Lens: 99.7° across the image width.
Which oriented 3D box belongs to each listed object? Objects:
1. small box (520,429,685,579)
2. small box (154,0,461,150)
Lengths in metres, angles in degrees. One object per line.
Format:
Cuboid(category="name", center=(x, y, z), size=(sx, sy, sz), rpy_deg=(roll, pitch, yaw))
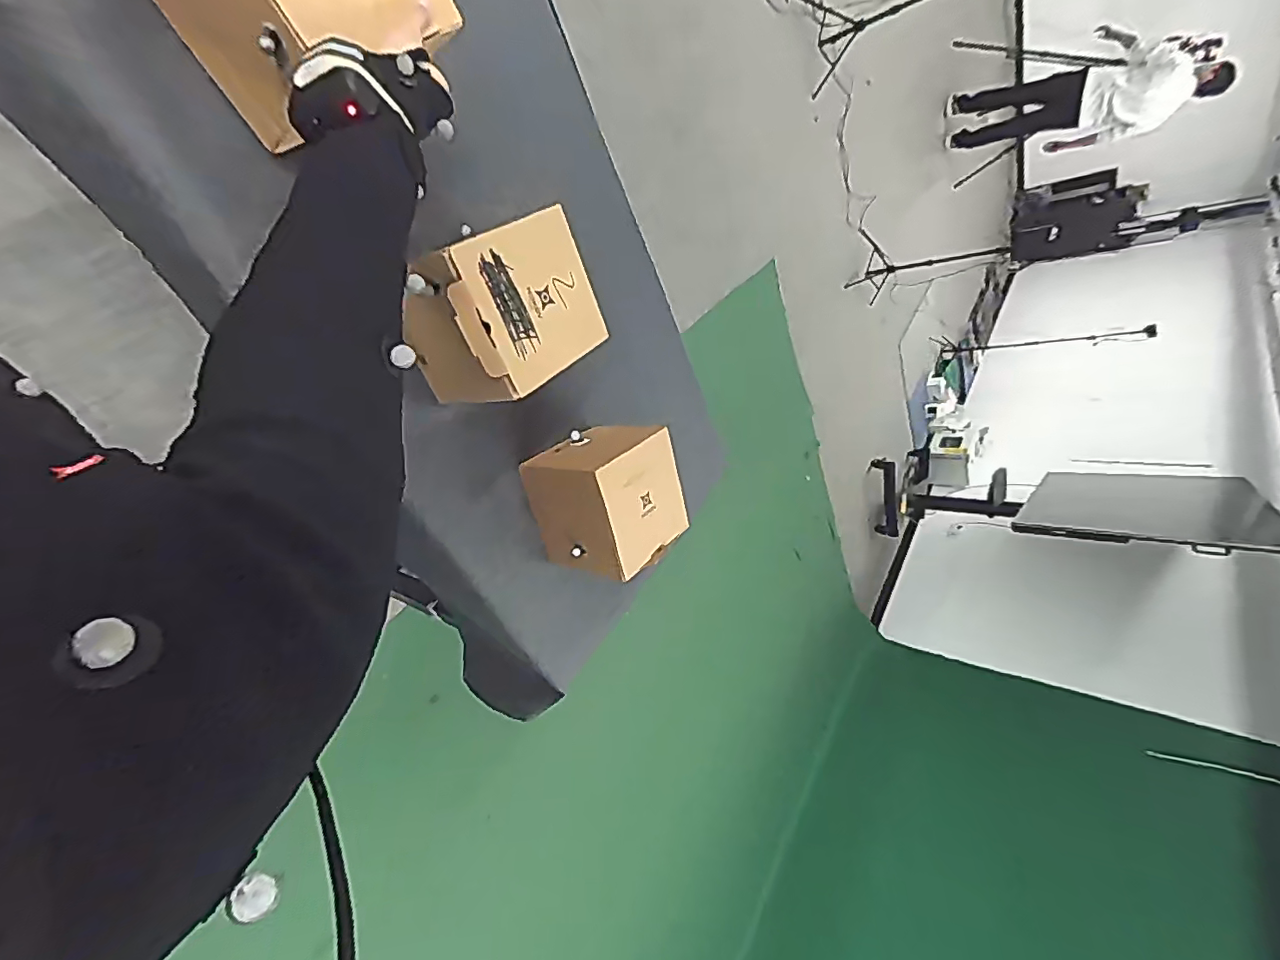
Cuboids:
Cuboid(category="small box", center=(-0.057, 0.026, 0.843), size=(0.168, 0.176, 0.179), rpy_deg=(-34, 119, -42))
Cuboid(category="small box", center=(-0.309, -0.441, 0.486), size=(0.168, 0.176, 0.179), rpy_deg=(-54, 130, -31))
